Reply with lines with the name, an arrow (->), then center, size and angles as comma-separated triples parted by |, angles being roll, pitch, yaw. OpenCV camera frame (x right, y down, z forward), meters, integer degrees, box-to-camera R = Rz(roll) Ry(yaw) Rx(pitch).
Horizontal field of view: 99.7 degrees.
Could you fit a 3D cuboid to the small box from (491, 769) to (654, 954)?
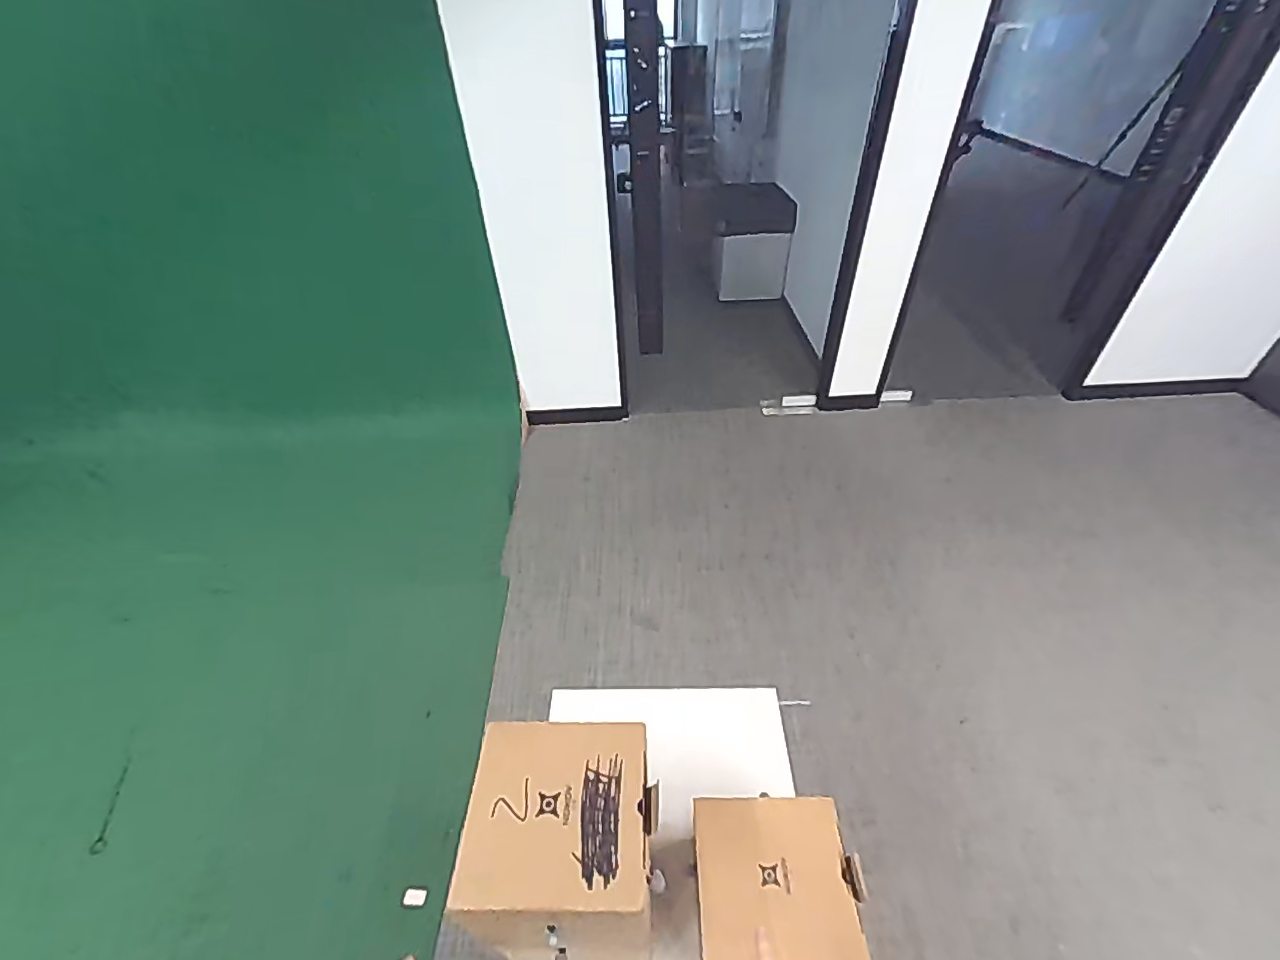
small box -> -0.073, 0.492, 0.696 | 0.179, 0.176, 0.168 | -1, 43, 1
